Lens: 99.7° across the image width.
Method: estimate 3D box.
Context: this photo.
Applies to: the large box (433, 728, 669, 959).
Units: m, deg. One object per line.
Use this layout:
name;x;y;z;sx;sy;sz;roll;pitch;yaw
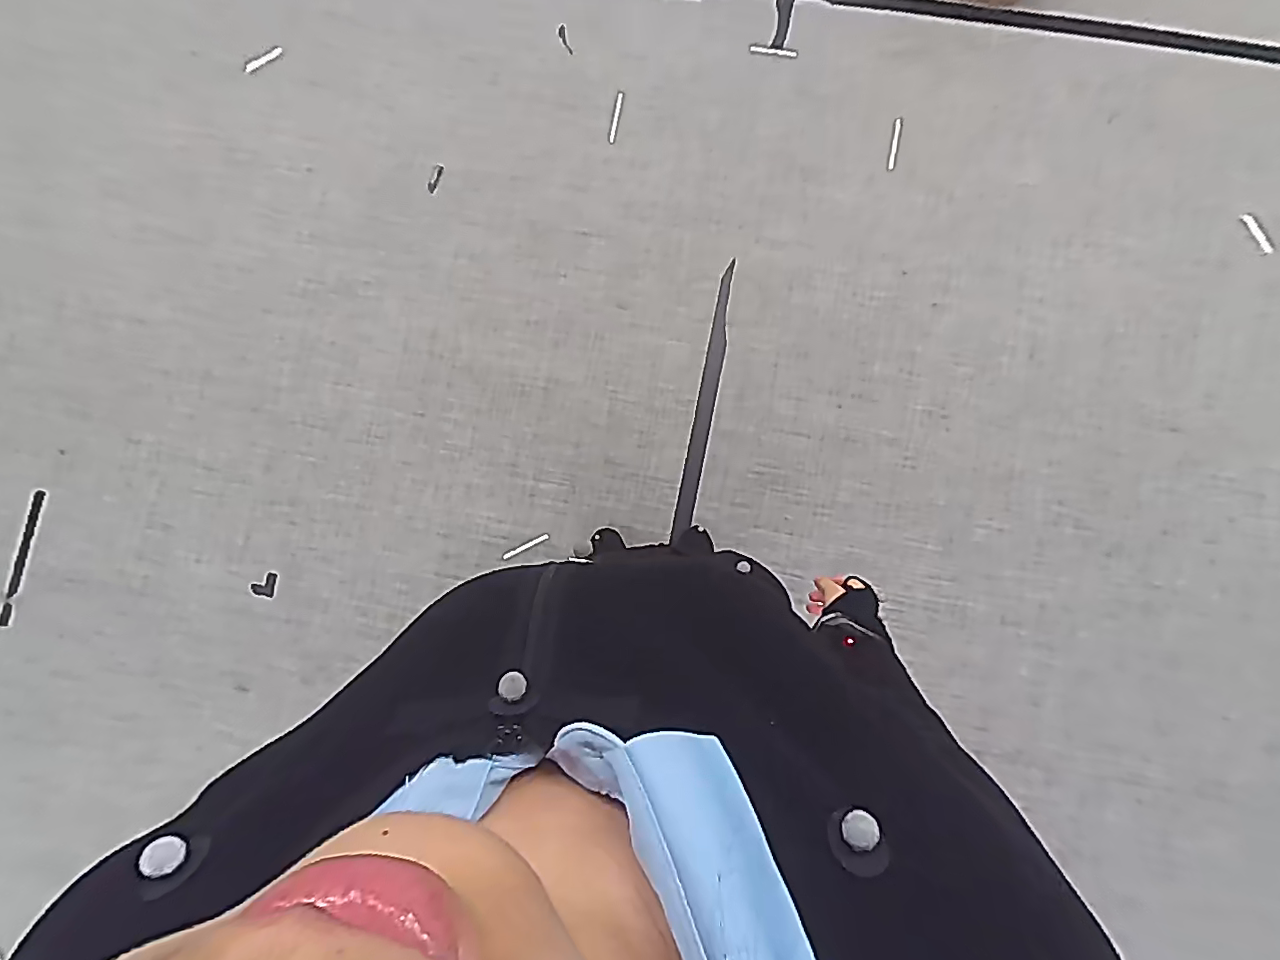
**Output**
large box;-0.158;0.769;1.149;0.408;0.320;0.320;10;86;3
